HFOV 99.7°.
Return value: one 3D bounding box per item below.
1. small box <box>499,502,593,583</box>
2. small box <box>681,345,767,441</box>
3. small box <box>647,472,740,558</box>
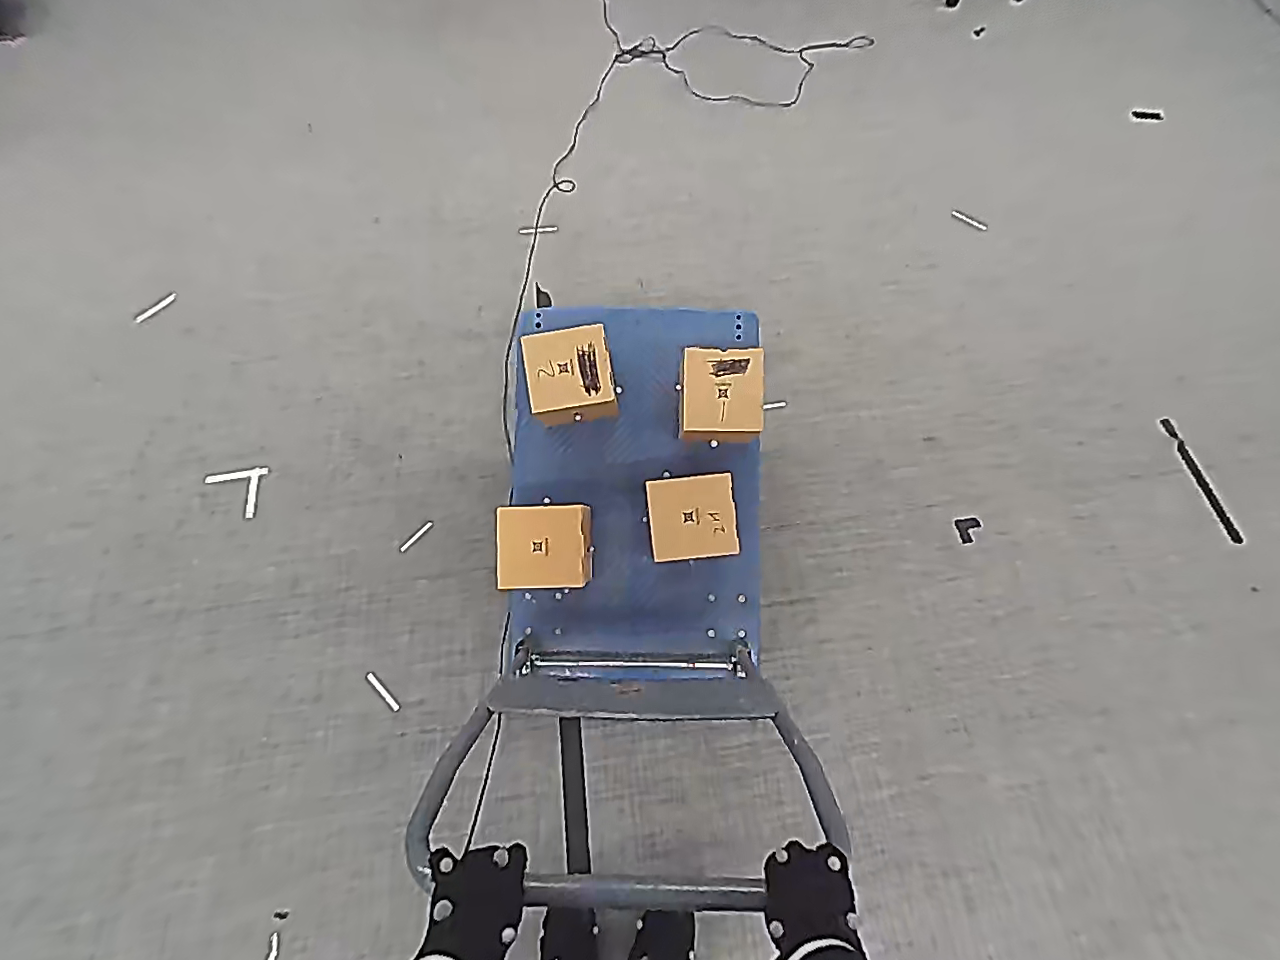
[{"bbox_3d":[-0.197,0.134,1.170,0.179,0.176,0.168,-1,86,0],"label":"small box"},{"bbox_3d":[0.178,-0.184,1.184,0.168,0.176,0.179,1,87,2],"label":"small box"},{"bbox_3d":[0.110,0.076,1.167,0.179,0.176,0.168,-5,86,1],"label":"small box"}]
